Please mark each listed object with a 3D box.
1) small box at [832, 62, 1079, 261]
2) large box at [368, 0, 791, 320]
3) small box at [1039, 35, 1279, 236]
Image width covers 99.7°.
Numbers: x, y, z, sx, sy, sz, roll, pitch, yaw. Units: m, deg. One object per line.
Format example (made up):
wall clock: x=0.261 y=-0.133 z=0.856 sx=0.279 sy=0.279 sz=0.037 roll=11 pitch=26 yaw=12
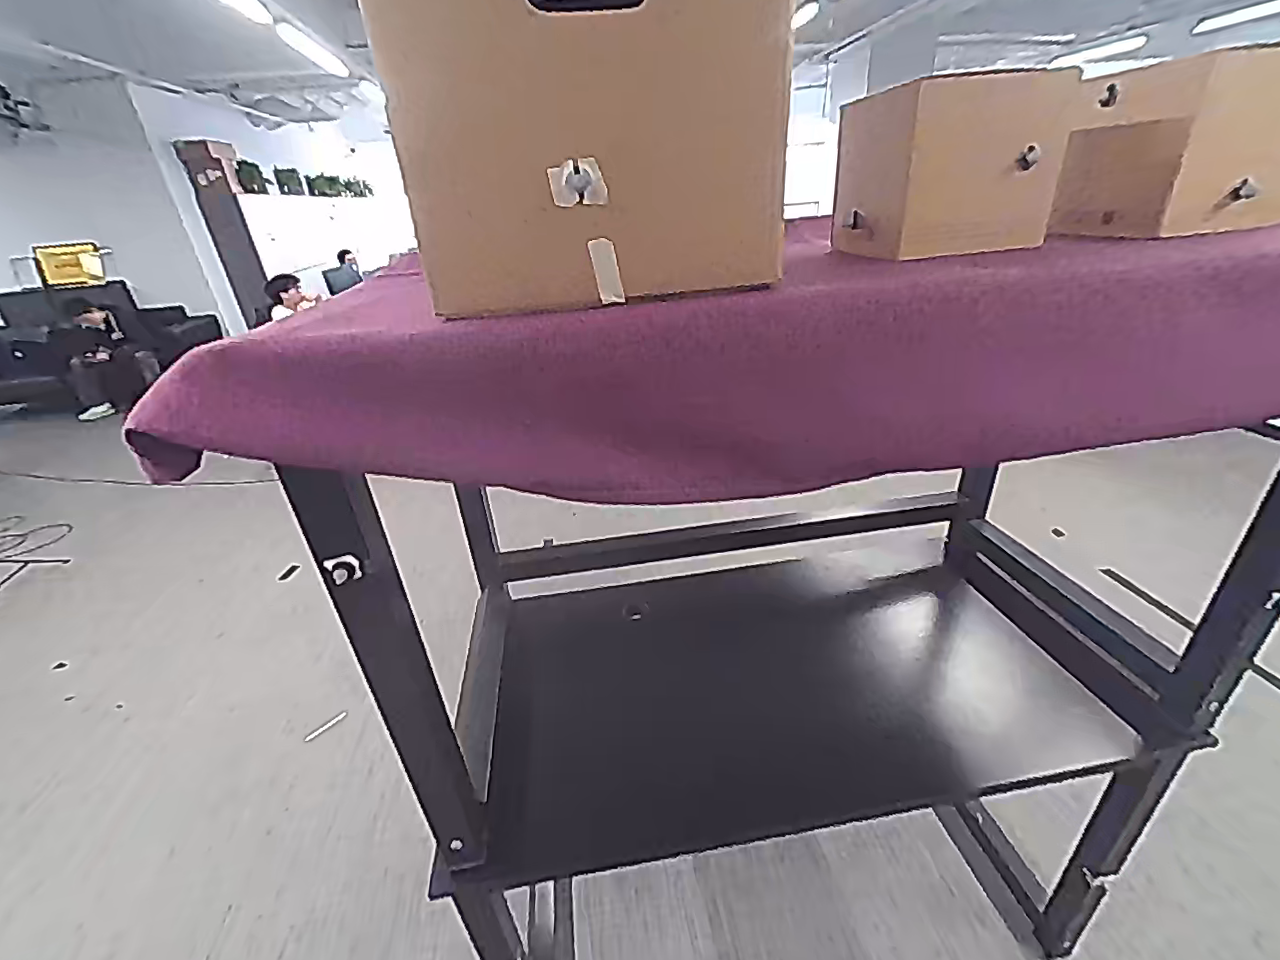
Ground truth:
small box: x=0.342 y=-0.359 z=0.627 sx=0.179 sy=0.176 sz=0.168 roll=-8 pitch=27 yaw=-5
large box: x=-0.063 y=-0.371 z=0.575 sx=0.320 sy=0.320 sz=0.408 roll=-8 pitch=26 yaw=-6
small box: x=0.609 y=-0.382 z=0.620 sx=0.179 sy=0.176 sz=0.168 roll=-9 pitch=27 yaw=-7
